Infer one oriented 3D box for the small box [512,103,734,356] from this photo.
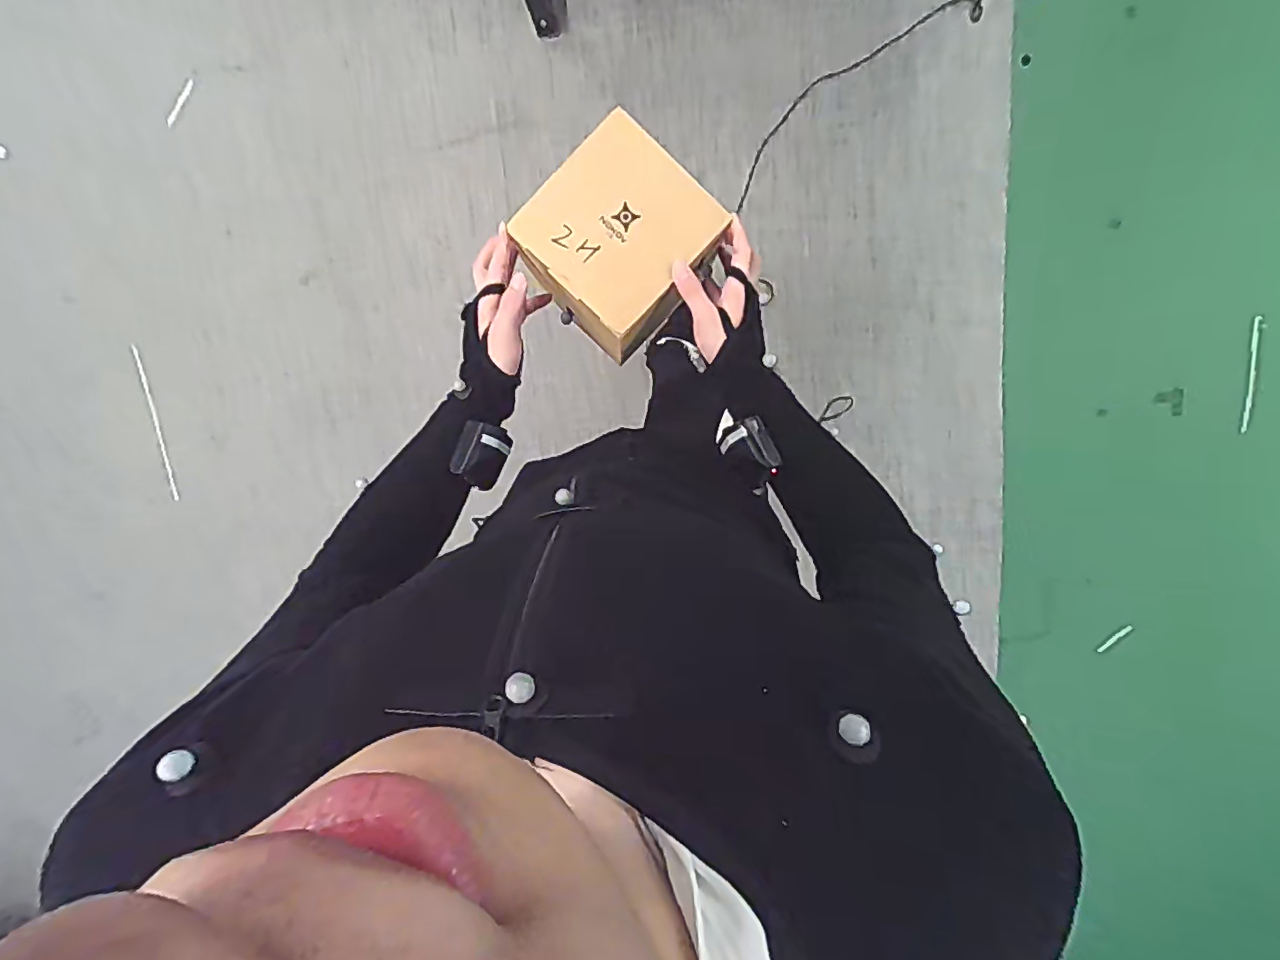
[{"bbox_3d":[-0.021,-0.274,0.636,0.168,0.176,0.179,44,90,-2],"label":"small box"}]
